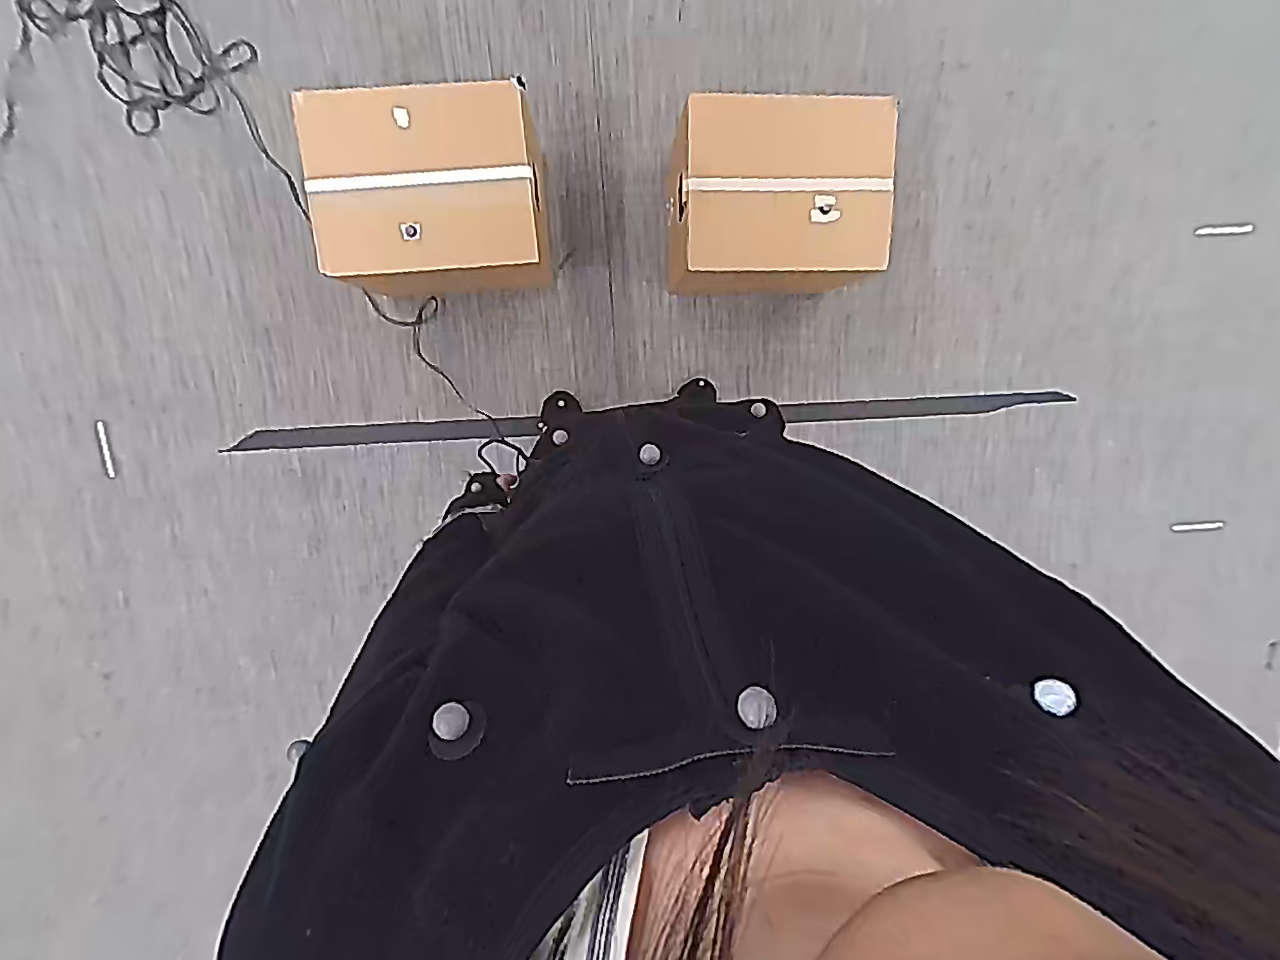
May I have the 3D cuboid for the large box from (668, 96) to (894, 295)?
[{"bbox_3d":[0.280,-0.595,1.191,0.408,0.320,0.320,-1,101,-4],"label":"large box"}]
